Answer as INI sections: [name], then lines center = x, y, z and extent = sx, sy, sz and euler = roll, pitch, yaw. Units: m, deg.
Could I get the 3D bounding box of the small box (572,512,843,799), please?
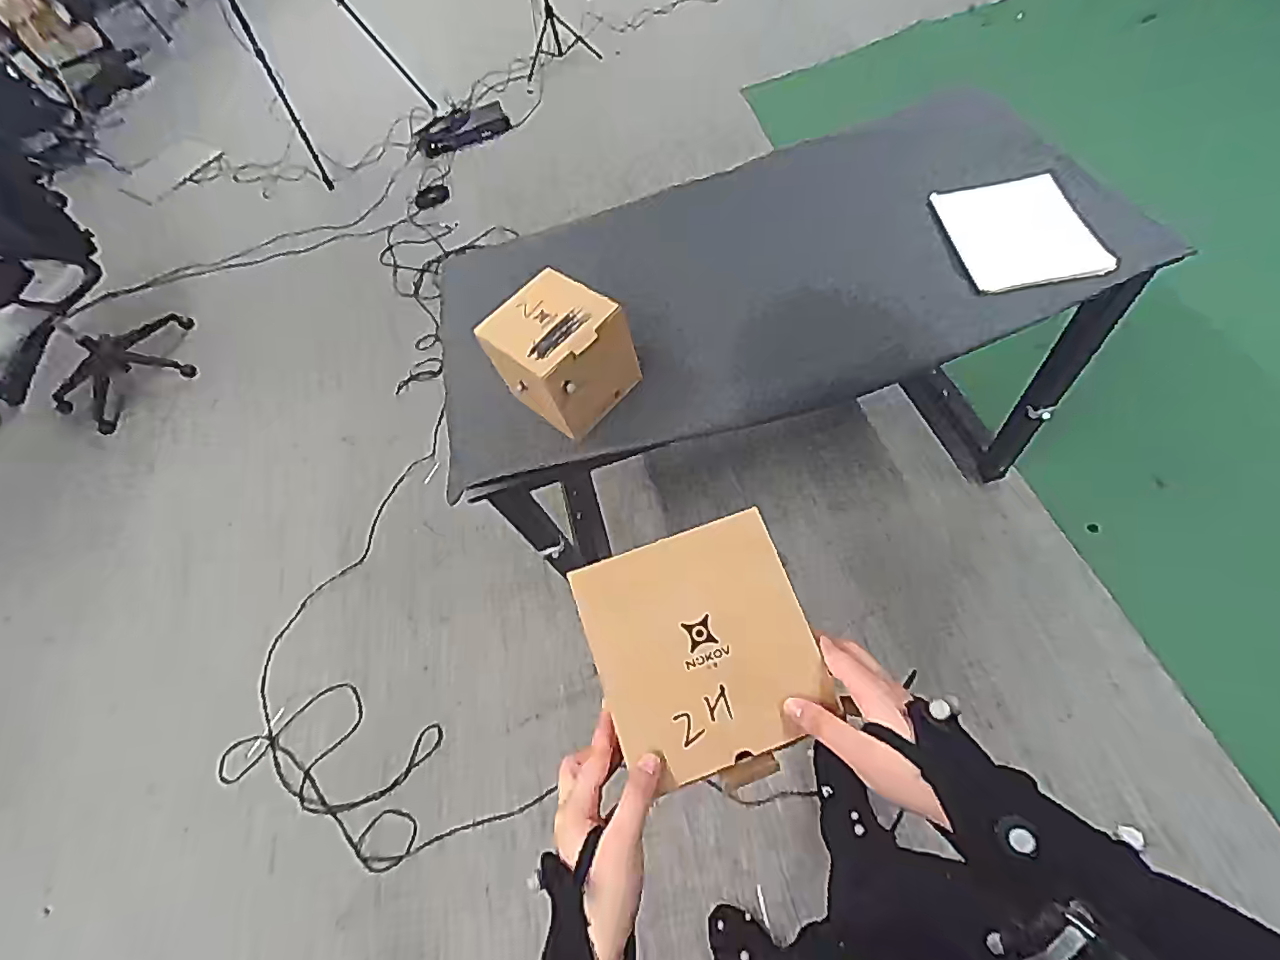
[small box]
center = 0.049, 0.153, 0.493
extent = 0.168, 0.176, 0.179
euler = -19, 72, -4
